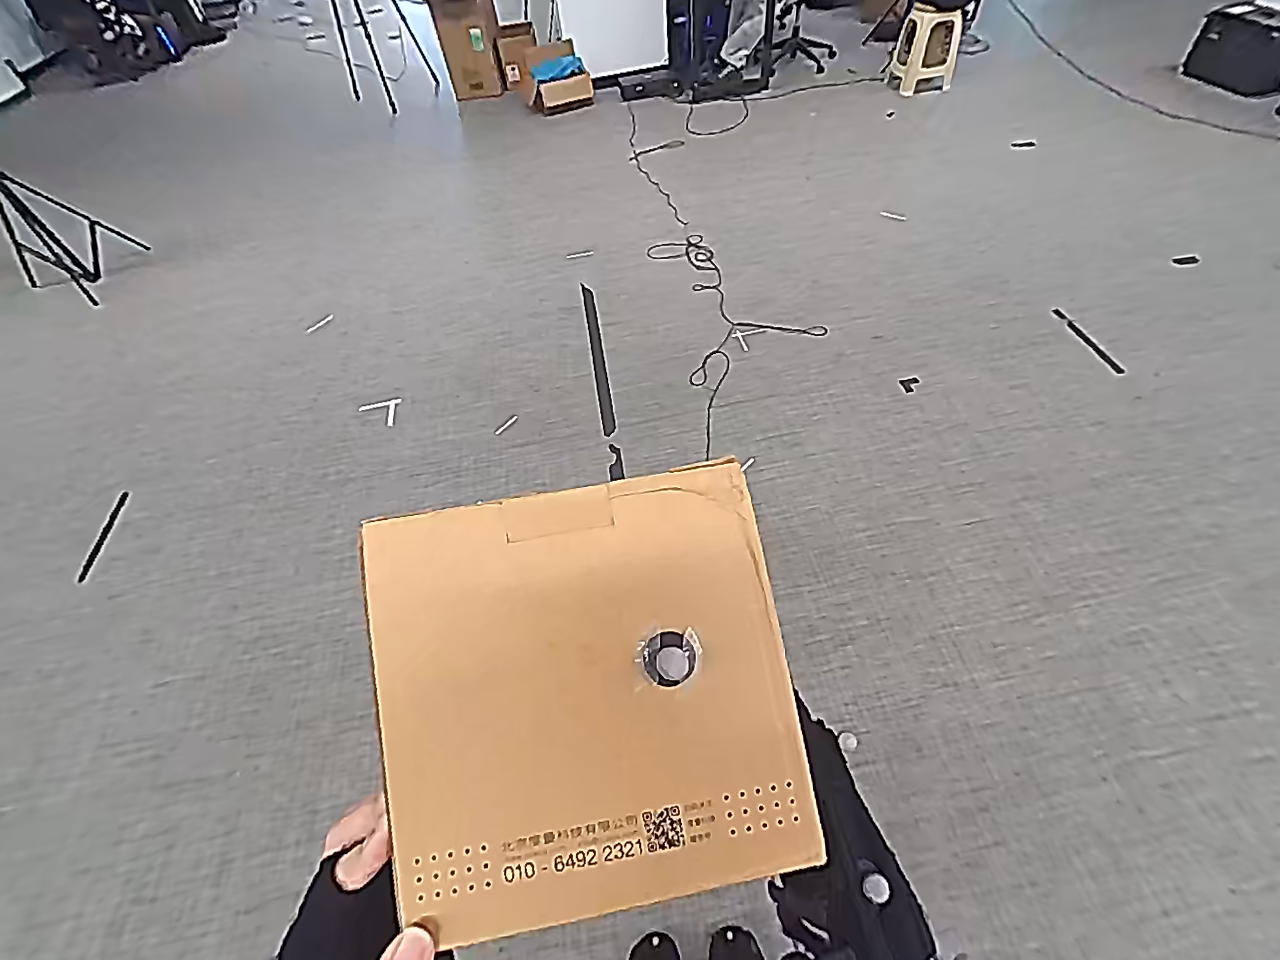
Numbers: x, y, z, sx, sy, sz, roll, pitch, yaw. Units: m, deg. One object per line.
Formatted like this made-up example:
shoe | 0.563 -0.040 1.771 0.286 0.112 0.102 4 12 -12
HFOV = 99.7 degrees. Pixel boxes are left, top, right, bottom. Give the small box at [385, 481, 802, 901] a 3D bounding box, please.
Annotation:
small box | -0.021 0.107 0.316 0.168 0.179 0.176 -9 82 -2
